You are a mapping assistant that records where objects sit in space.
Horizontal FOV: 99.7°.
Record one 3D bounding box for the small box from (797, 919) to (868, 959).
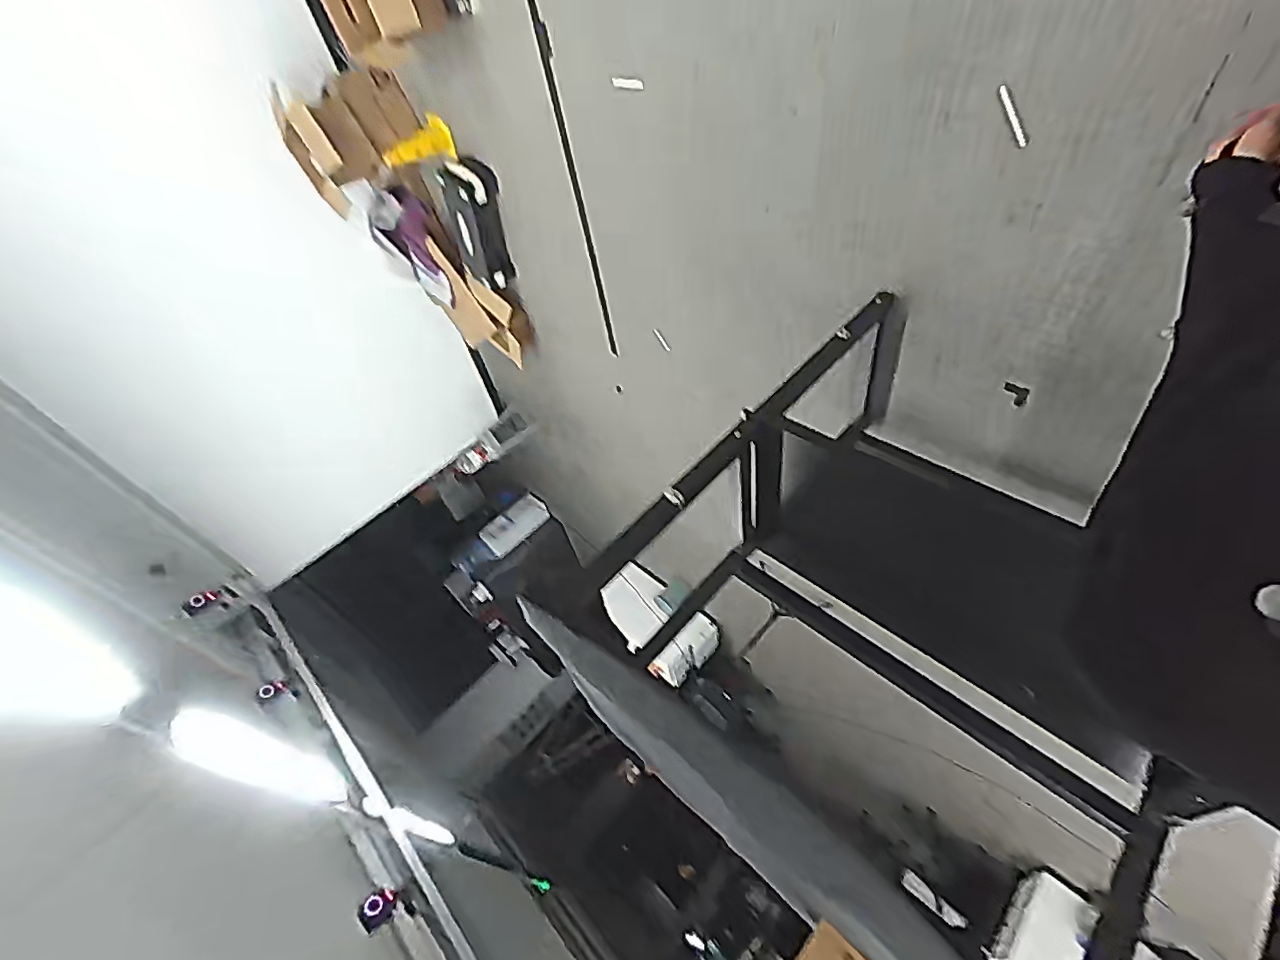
[{"bbox_3d":[0.351,0.933,0.962,0.168,0.176,0.179,30,150,36],"label":"small box"}]
